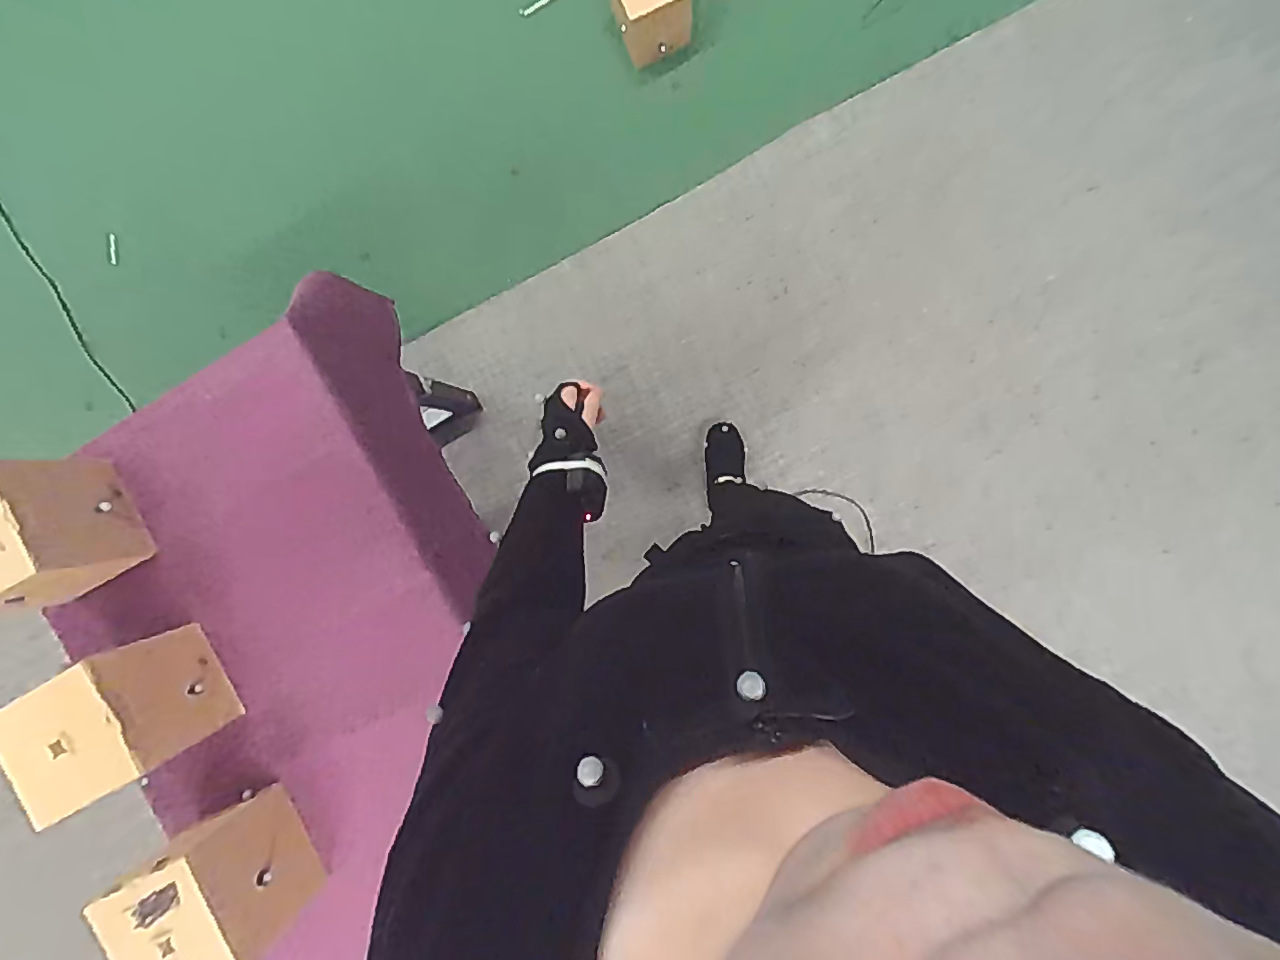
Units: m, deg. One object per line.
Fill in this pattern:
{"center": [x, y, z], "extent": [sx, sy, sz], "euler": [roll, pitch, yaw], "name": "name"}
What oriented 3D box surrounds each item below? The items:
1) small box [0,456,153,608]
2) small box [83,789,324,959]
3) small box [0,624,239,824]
{"center": [-0.873, 0.077, 0.773], "extent": [0.179, 0.176, 0.168], "euler": [-27, 90, 2], "name": "small box"}
{"center": [-0.602, 0.580, 0.769], "extent": [0.168, 0.176, 0.179], "euler": [-27, 90, 5], "name": "small box"}
{"center": [-0.741, 0.334, 0.775], "extent": [0.179, 0.176, 0.168], "euler": [-29, 89, 4], "name": "small box"}
